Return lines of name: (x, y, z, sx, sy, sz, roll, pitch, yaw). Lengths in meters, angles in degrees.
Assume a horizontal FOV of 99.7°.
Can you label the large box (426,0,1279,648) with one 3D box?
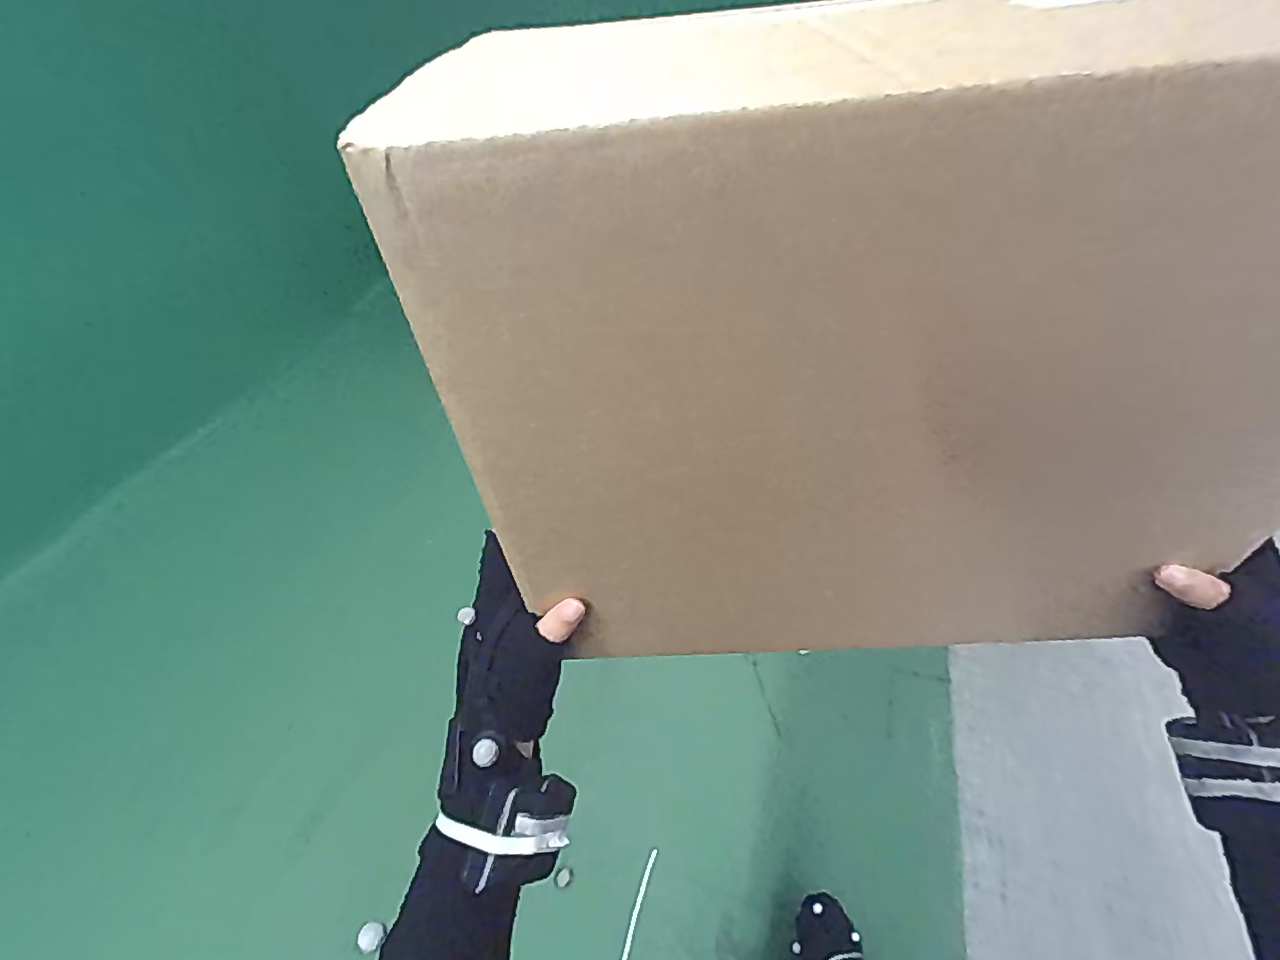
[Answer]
large box: (0.136, -0.106, 0.367, 0.408, 0.320, 0.320, -3, 45, 2)
